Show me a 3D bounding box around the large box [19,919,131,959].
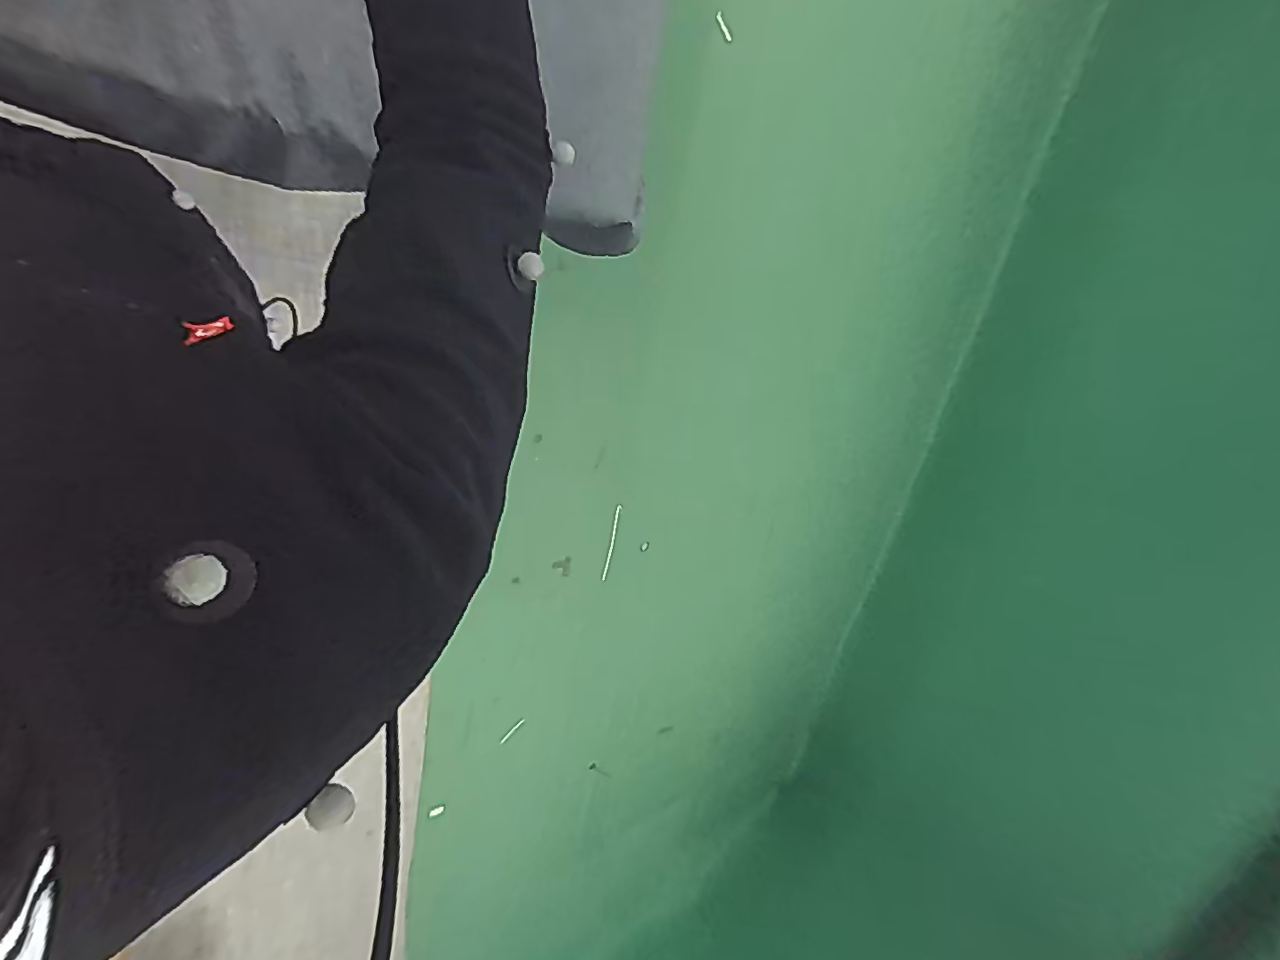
[{"bbox_3d":[-1.457,1.355,1.243,0.408,0.320,0.320,-8,118,-38],"label":"large box"}]
